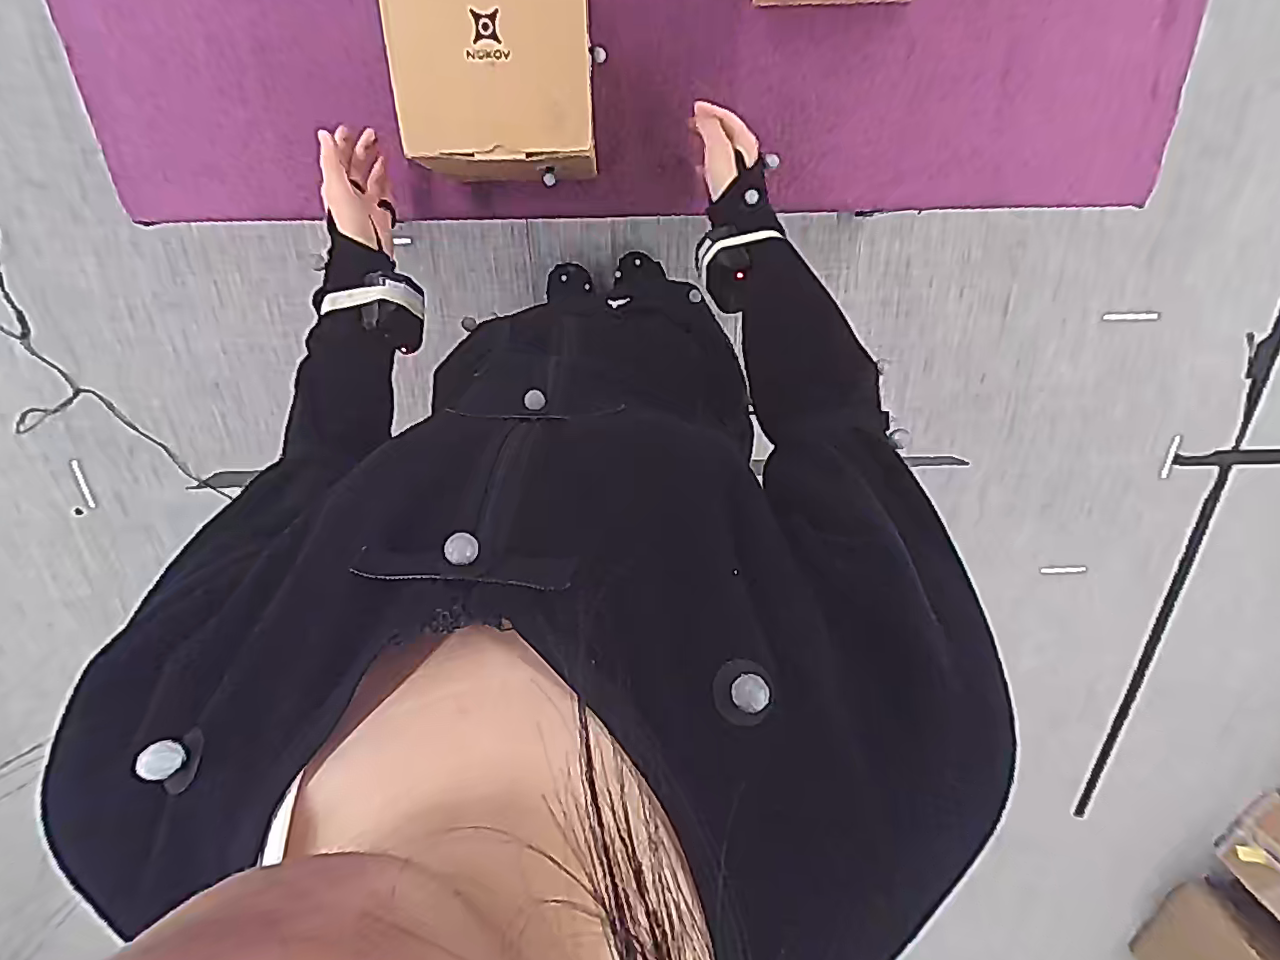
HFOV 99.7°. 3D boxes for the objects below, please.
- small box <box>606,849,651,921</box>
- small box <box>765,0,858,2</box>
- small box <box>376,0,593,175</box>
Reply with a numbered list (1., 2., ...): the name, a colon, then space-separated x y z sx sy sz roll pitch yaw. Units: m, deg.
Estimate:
1. small box: -0.046 1.595 2.139 0.168 0.176 0.179 -4 113 -2
2. small box: 0.206 -0.553 0.468 0.179 0.176 0.168 -3 112 -2
3. small box: -0.132 -0.397 0.513 0.168 0.176 0.179 -4 112 -3
